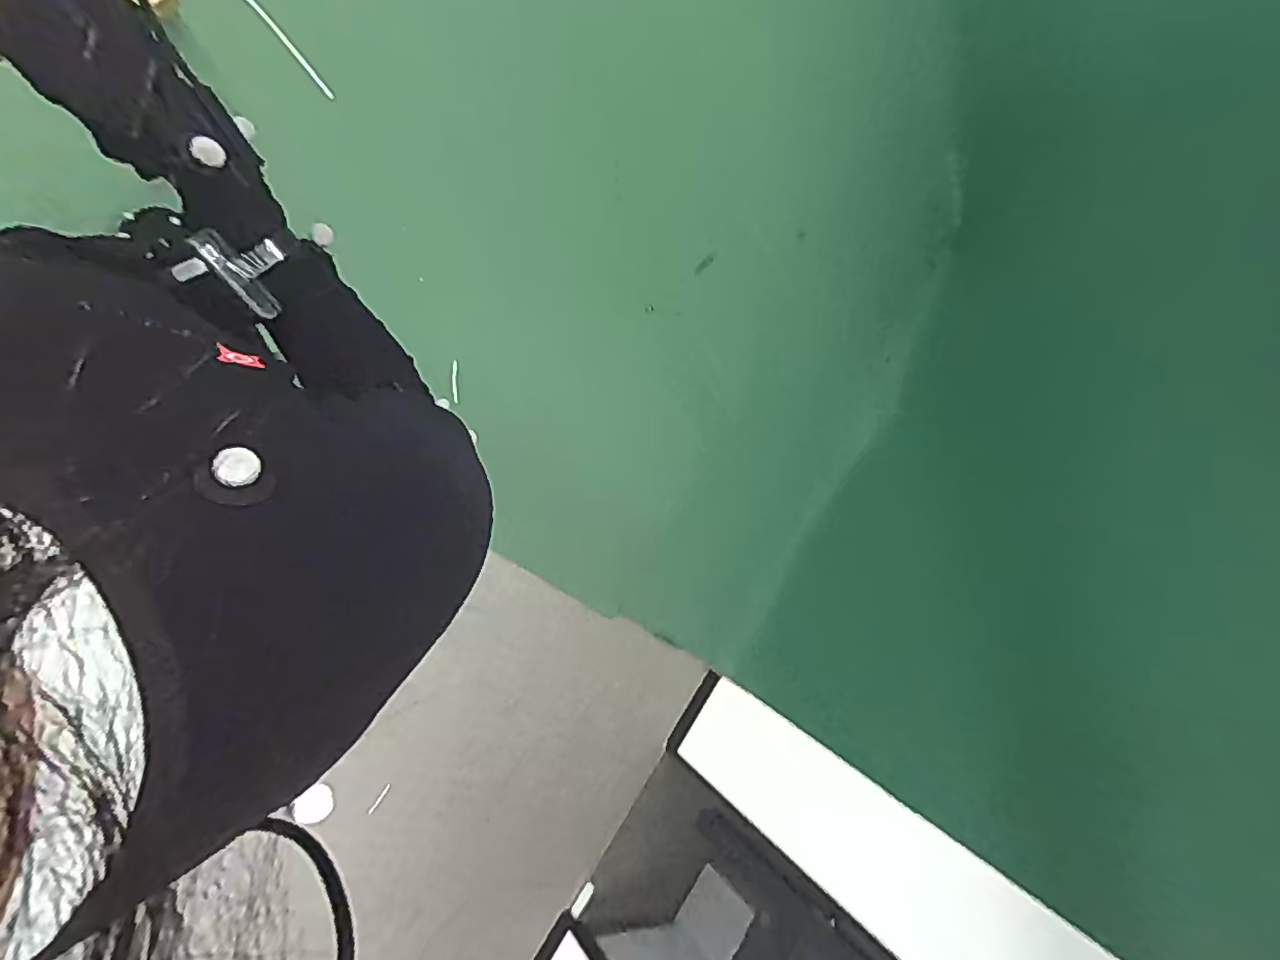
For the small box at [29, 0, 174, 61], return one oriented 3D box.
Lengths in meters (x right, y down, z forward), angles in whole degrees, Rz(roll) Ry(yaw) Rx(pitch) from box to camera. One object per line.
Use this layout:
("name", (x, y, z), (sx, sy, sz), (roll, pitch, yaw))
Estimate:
("small box", (-0.886, -0.810, 0.858), (0.168, 0.176, 0.179), (-54, 134, -13))
